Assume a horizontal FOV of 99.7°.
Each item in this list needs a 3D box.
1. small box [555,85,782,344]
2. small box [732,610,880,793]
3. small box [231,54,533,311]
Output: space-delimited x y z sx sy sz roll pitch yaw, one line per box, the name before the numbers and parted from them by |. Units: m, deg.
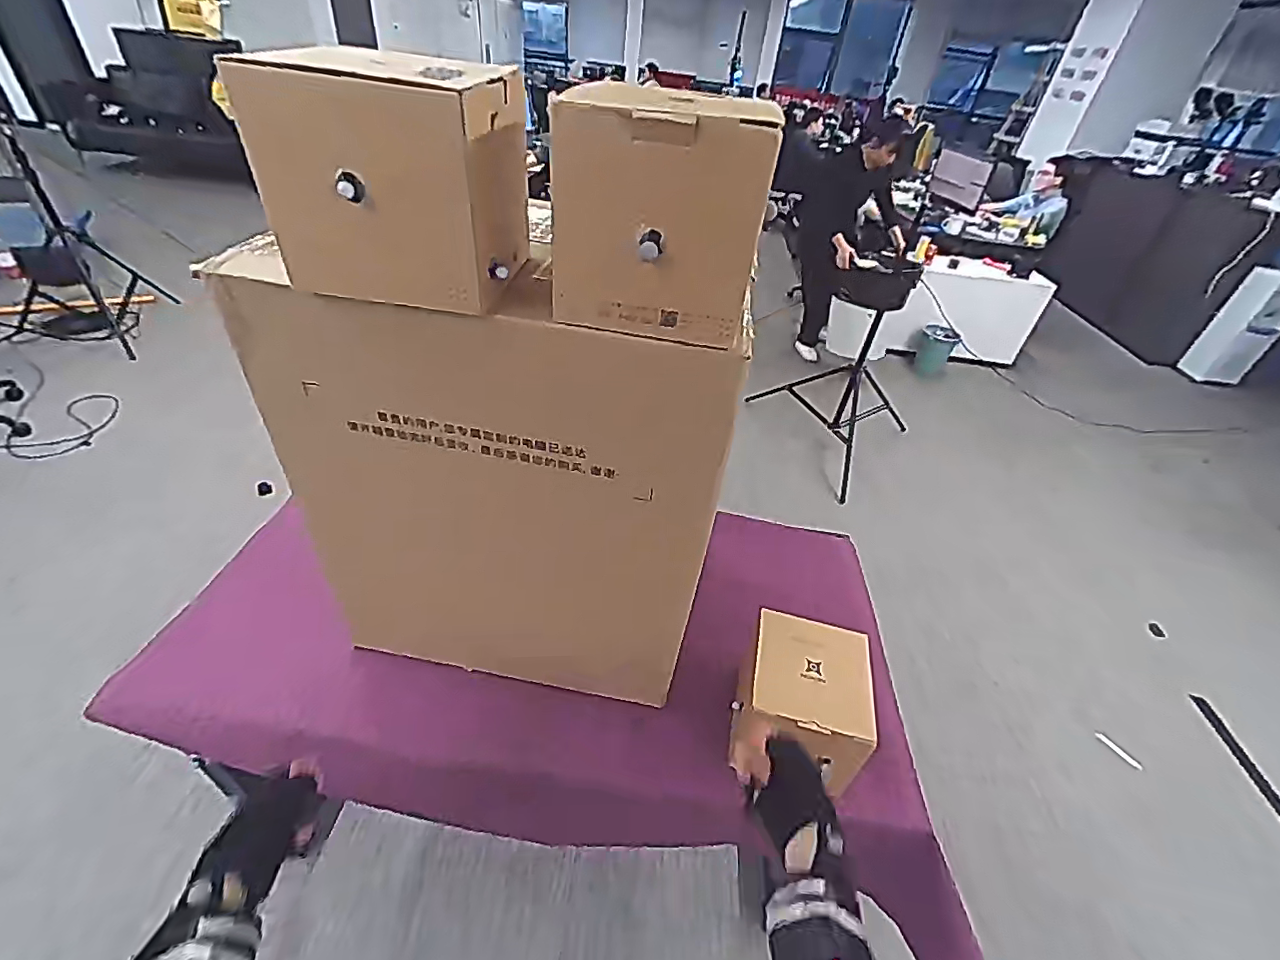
small box | 0.027 -0.243 0.494 0.168 0.176 0.179 11 41 4
small box | 0.241 0.333 0.814 0.168 0.176 0.179 13 37 6
small box | -0.201 -0.268 0.490 0.179 0.176 0.168 7 40 2
